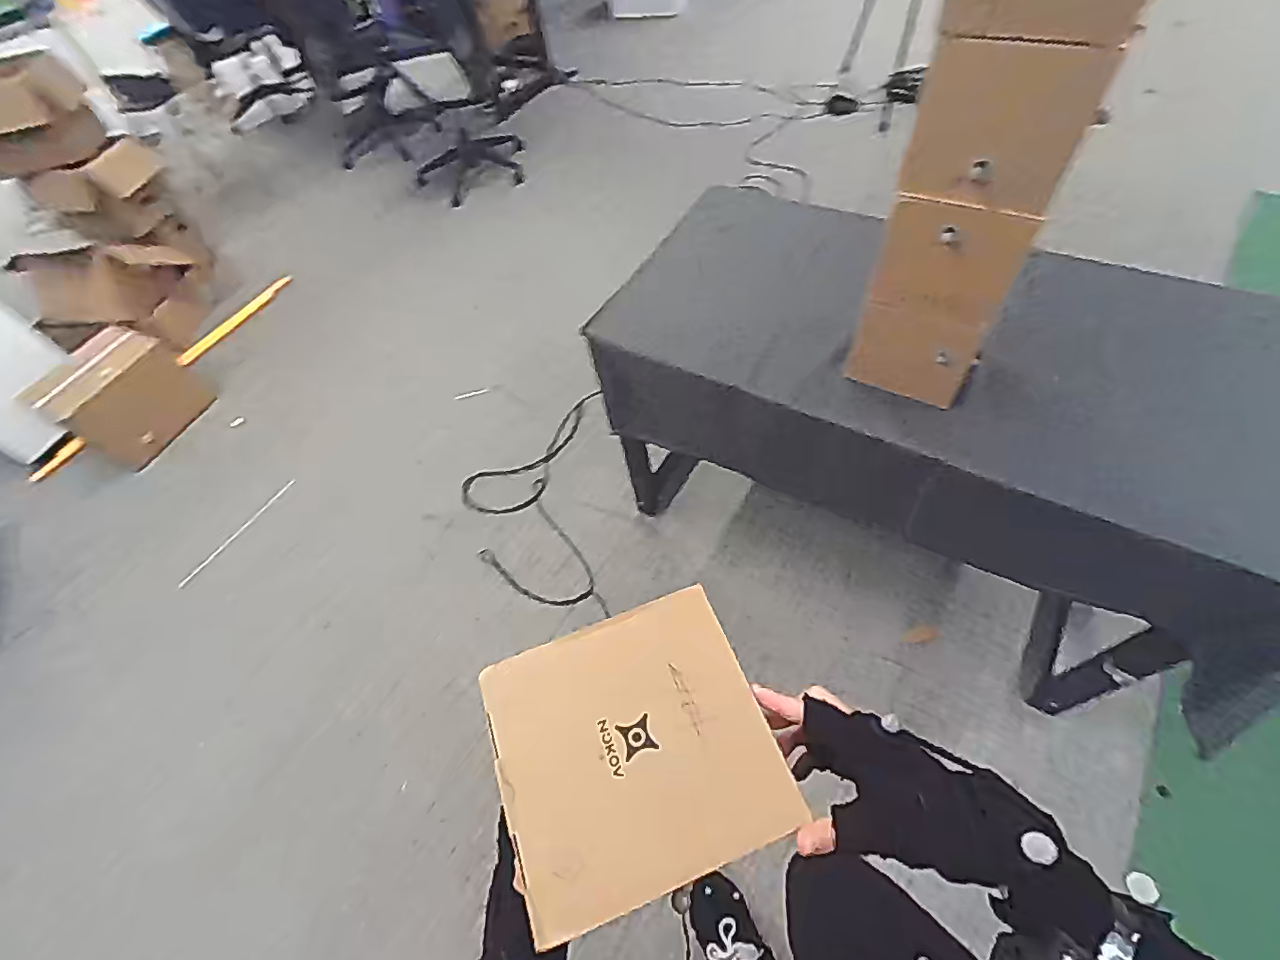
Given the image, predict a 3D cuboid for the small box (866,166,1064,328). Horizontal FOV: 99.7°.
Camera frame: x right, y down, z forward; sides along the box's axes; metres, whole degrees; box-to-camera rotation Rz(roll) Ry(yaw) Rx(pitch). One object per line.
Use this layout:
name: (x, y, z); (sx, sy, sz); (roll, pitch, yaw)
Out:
small box: (0.451, -0.345, 0.773); (0.179, 0.176, 0.168); (24, 62, 22)

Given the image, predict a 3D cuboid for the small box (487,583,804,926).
small box: (0.001, 0.211, 0.425); (0.179, 0.176, 0.168); (-18, 57, -7)

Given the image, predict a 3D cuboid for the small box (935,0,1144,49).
small box: (0.411, -0.540, 0.512); (0.179, 0.176, 0.168); (25, 63, 22)

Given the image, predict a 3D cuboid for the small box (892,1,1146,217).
small box: (0.433, -0.443, 0.643); (0.179, 0.176, 0.168); (26, 63, 23)
